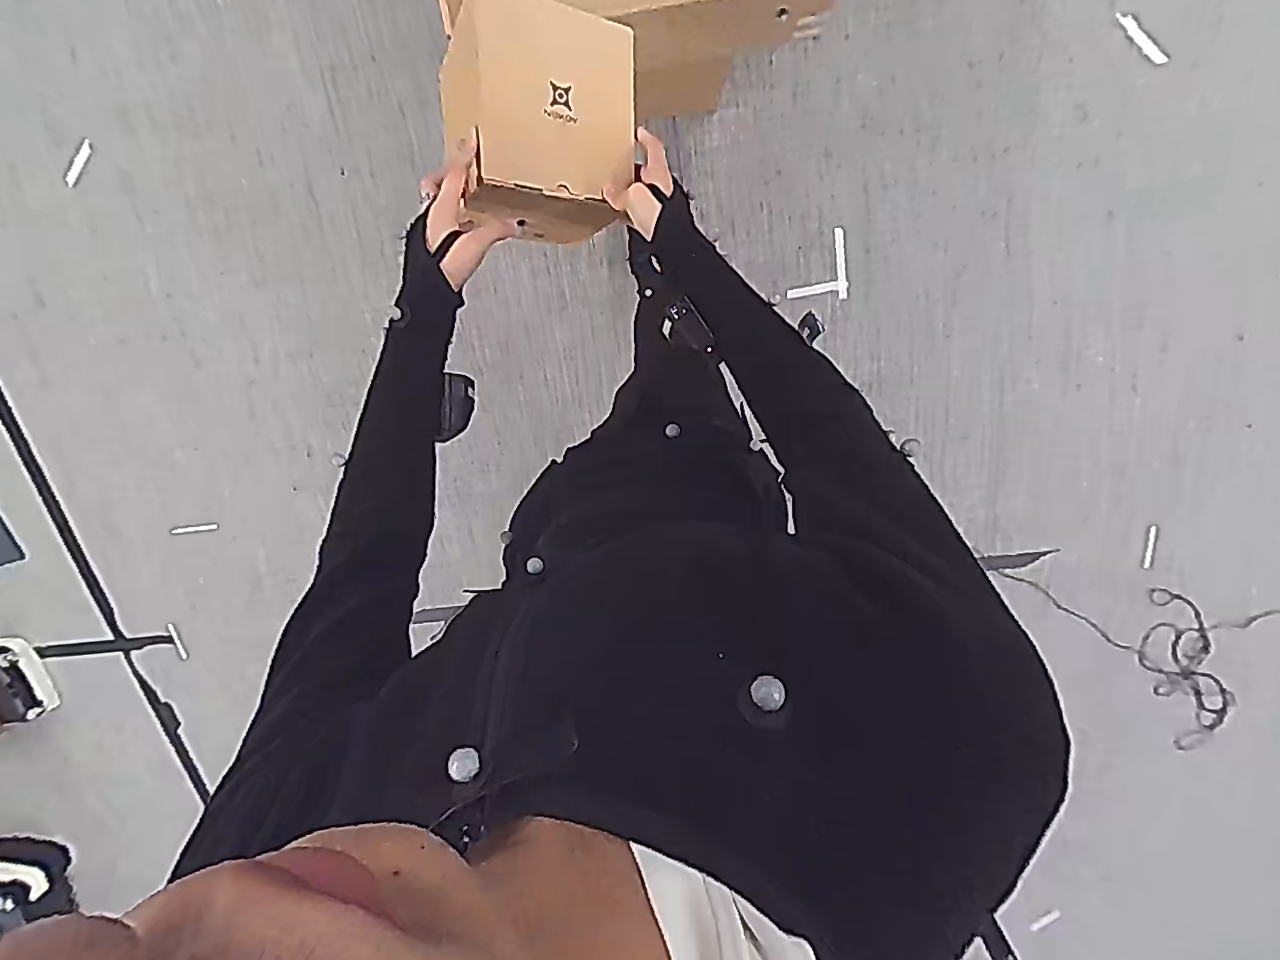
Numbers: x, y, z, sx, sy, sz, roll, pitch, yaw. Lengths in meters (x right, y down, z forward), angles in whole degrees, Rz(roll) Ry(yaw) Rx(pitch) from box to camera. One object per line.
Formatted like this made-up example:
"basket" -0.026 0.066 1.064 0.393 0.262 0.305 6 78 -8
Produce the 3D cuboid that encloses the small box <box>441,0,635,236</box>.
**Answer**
"small box" -0.117 -0.390 0.598 0.168 0.176 0.179 -6 102 -29
